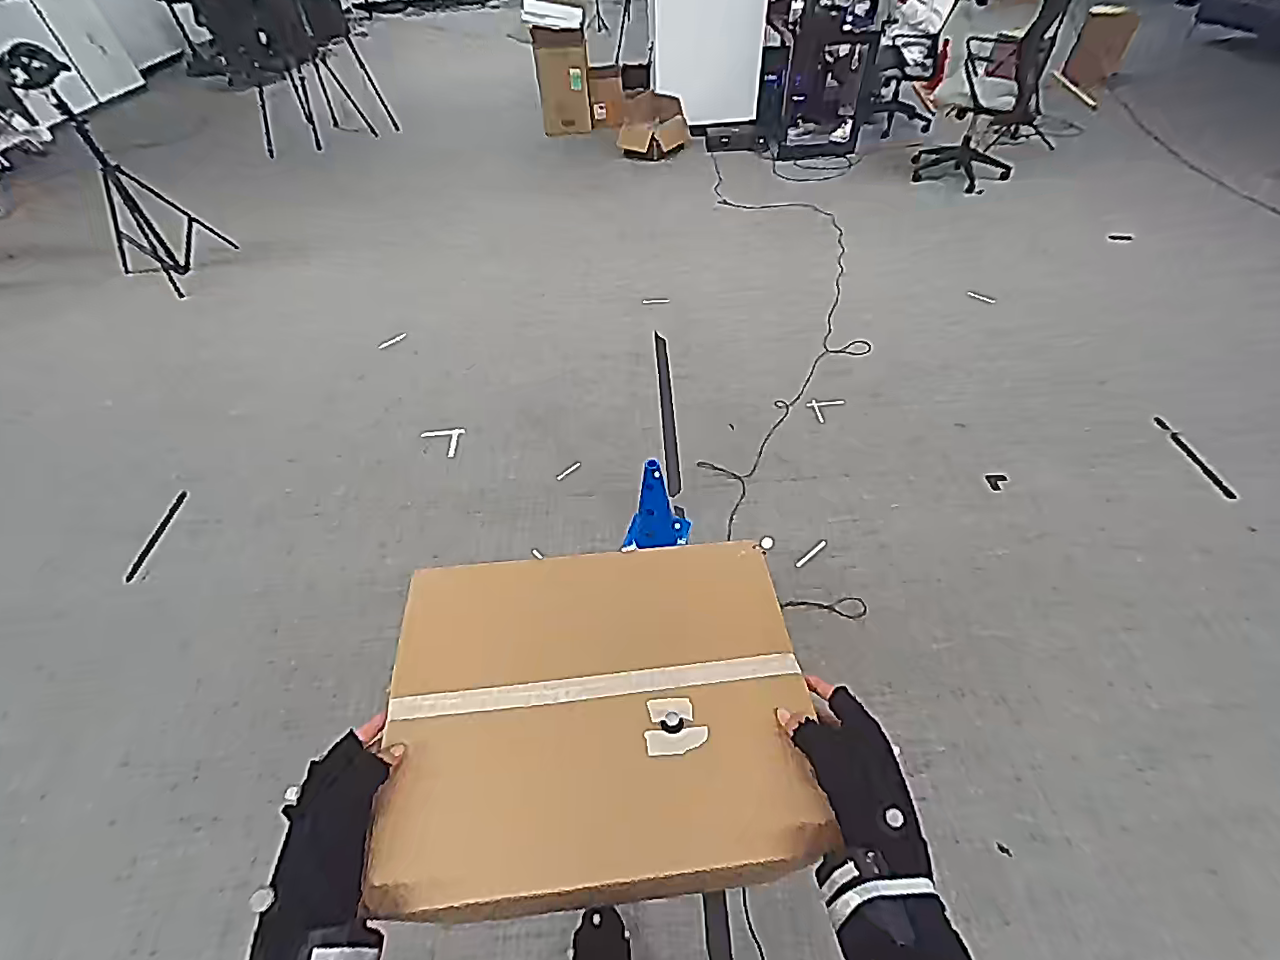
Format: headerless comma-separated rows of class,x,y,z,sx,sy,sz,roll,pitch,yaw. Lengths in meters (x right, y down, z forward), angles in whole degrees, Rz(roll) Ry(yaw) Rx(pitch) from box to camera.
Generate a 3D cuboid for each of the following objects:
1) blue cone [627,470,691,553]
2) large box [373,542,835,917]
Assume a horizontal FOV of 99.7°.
blue cone,0.054,0.100,1.678,0.193,0.380,0.192,12,50,15
large box,-0.043,0.304,0.663,0.408,0.320,0.320,-4,50,-4
